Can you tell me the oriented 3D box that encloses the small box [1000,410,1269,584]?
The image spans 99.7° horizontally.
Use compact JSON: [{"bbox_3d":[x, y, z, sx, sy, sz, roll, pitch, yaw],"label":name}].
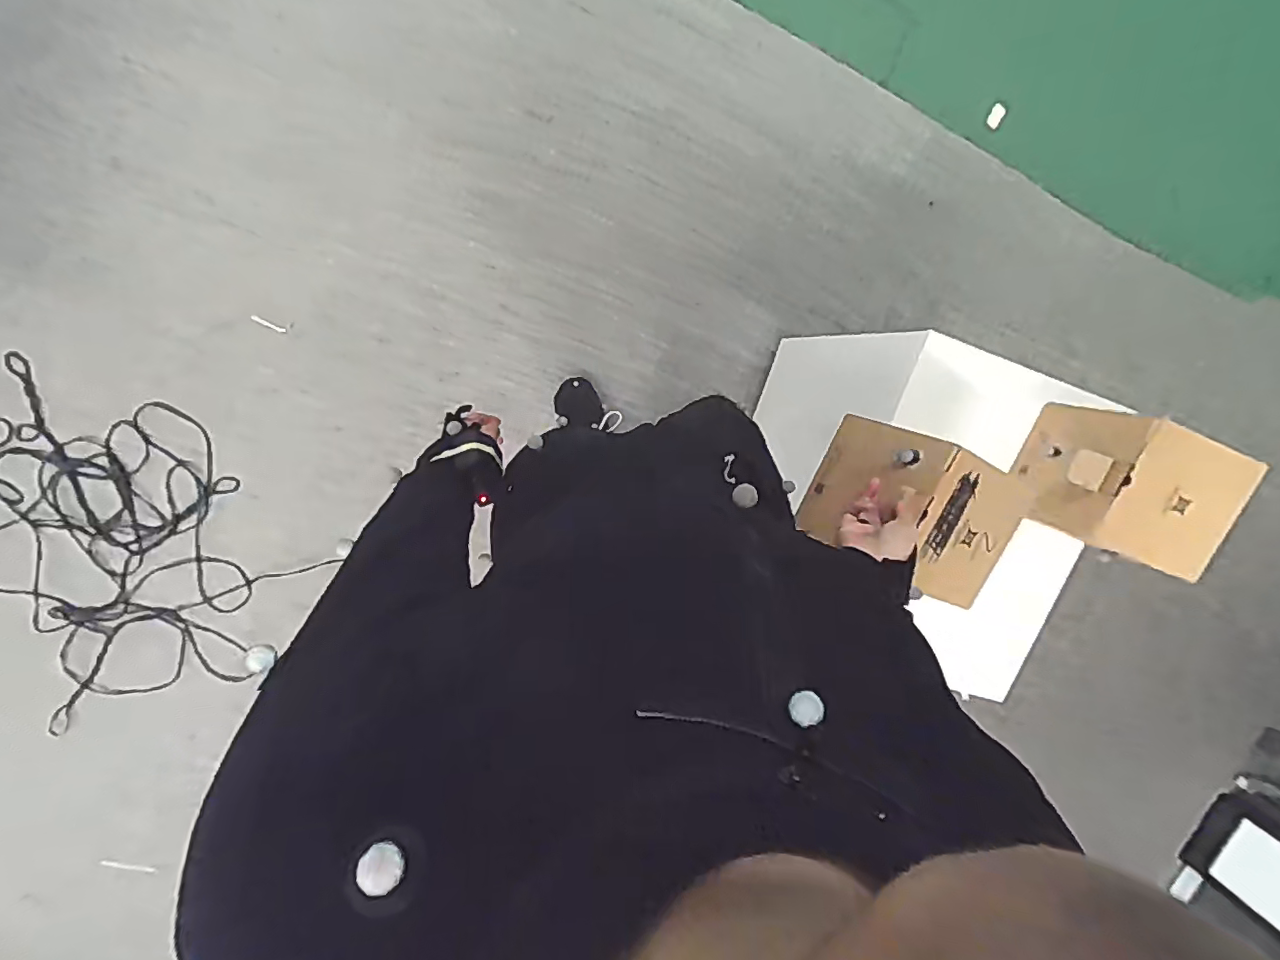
[{"bbox_3d":[0.653,0.013,0.738,0.179,0.176,0.168,20,101,-10],"label":"small box"}]
